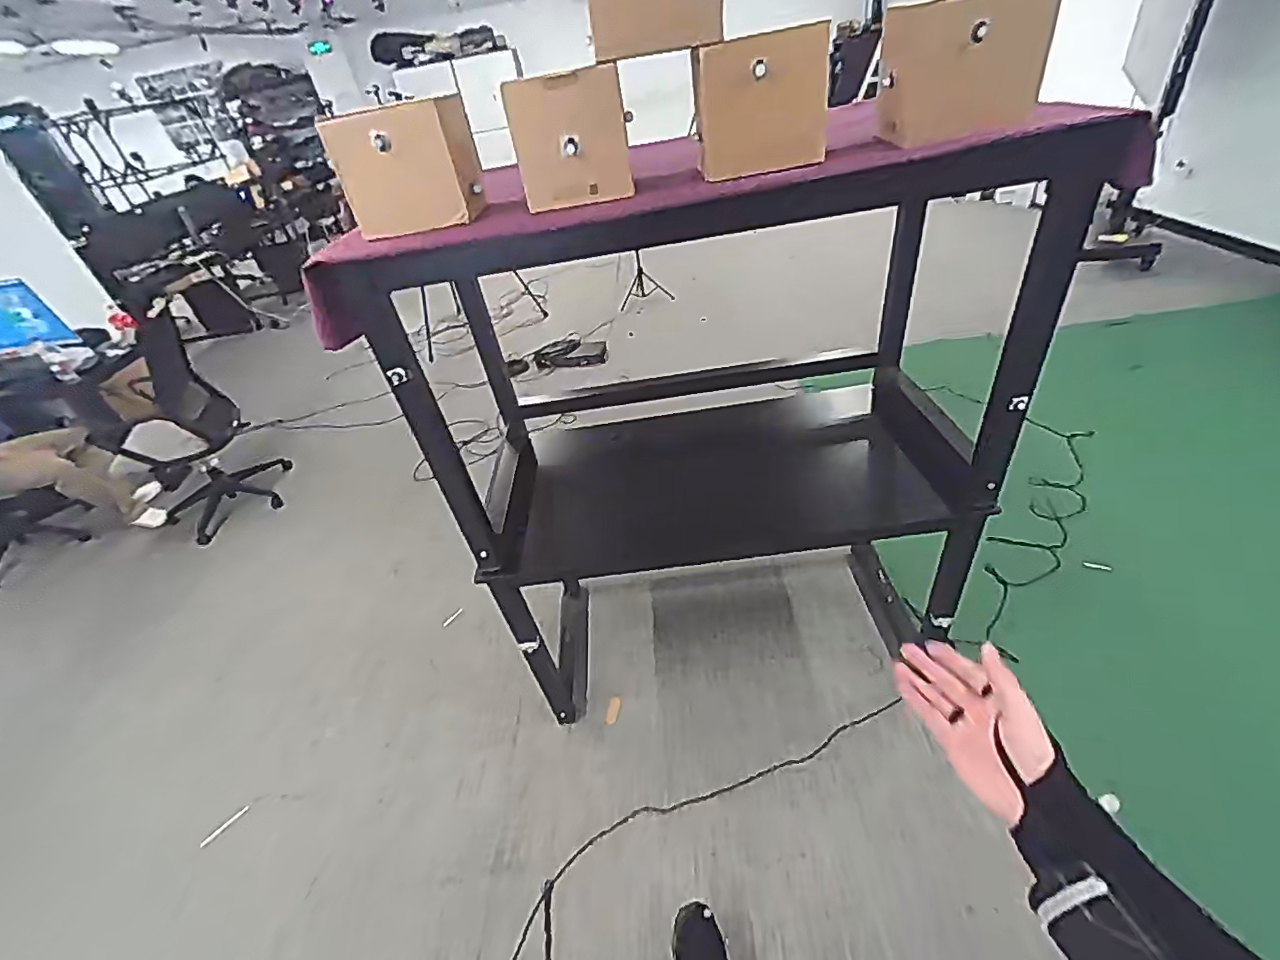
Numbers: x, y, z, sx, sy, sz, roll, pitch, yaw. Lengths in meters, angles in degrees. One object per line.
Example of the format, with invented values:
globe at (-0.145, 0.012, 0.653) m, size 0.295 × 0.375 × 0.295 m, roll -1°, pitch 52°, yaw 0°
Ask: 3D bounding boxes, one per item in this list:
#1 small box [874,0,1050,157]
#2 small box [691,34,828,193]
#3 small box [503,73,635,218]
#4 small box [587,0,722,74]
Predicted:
small box at (0.462, -0.599, 0.809) m, size 0.179 × 0.176 × 0.168 m, roll -6°, pitch 39°, yaw 8°
small box at (0.178, -0.563, 0.836) m, size 0.179 × 0.176 × 0.168 m, roll -8°, pitch 36°, yaw 5°
small box at (-0.101, -0.526, 0.855) m, size 0.168 × 0.176 × 0.179 m, roll -8°, pitch 37°, yaw 3°
small box at (0.013, -0.676, 0.751) m, size 0.179 × 0.176 × 0.168 m, roll -8°, pitch 36°, yaw 1°
